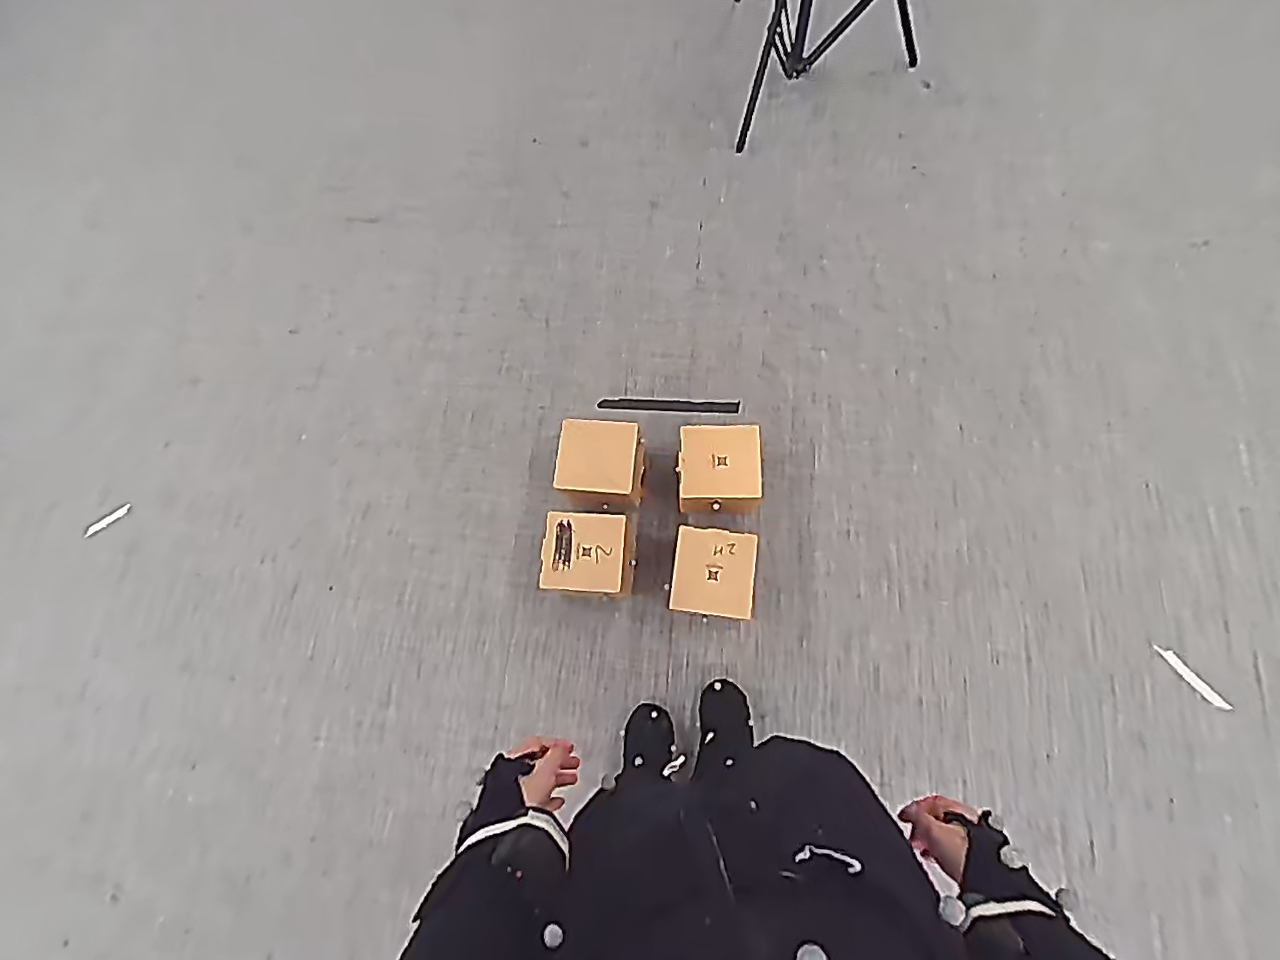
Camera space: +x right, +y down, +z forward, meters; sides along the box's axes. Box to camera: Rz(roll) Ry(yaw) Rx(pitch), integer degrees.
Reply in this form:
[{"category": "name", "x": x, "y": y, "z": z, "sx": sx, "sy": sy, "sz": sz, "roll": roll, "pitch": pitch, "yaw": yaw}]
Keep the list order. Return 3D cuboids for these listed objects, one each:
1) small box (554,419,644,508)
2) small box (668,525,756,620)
[{"category": "small box", "x": -0.090, "y": -0.035, "z": 1.273, "sx": 0.179, "sy": 0.176, "sz": 0.168, "roll": 5, "pitch": 75, "yaw": 7}, {"category": "small box", "x": 0.156, "y": 0.208, "z": 1.185, "sx": 0.168, "sy": 0.176, "sz": 0.179, "roll": 7, "pitch": 76, "yaw": 7}]
